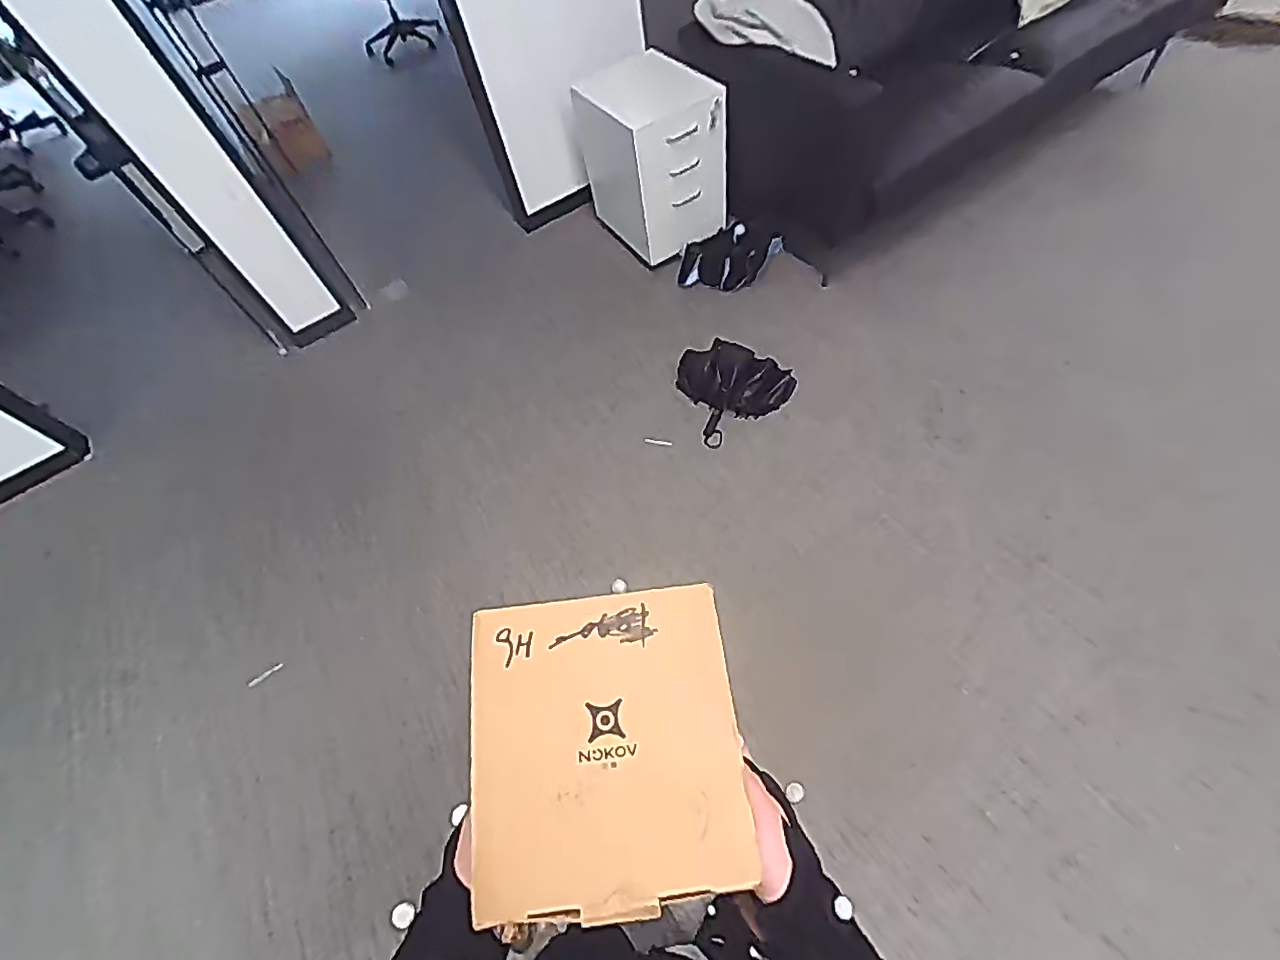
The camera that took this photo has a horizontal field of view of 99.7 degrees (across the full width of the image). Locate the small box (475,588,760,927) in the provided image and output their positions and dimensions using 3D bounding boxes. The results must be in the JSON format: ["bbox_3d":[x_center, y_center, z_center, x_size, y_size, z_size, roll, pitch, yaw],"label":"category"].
[{"bbox_3d":[-0.019,0.192,0.409,0.168,0.176,0.179,-6,66,-3],"label":"small box"}]
